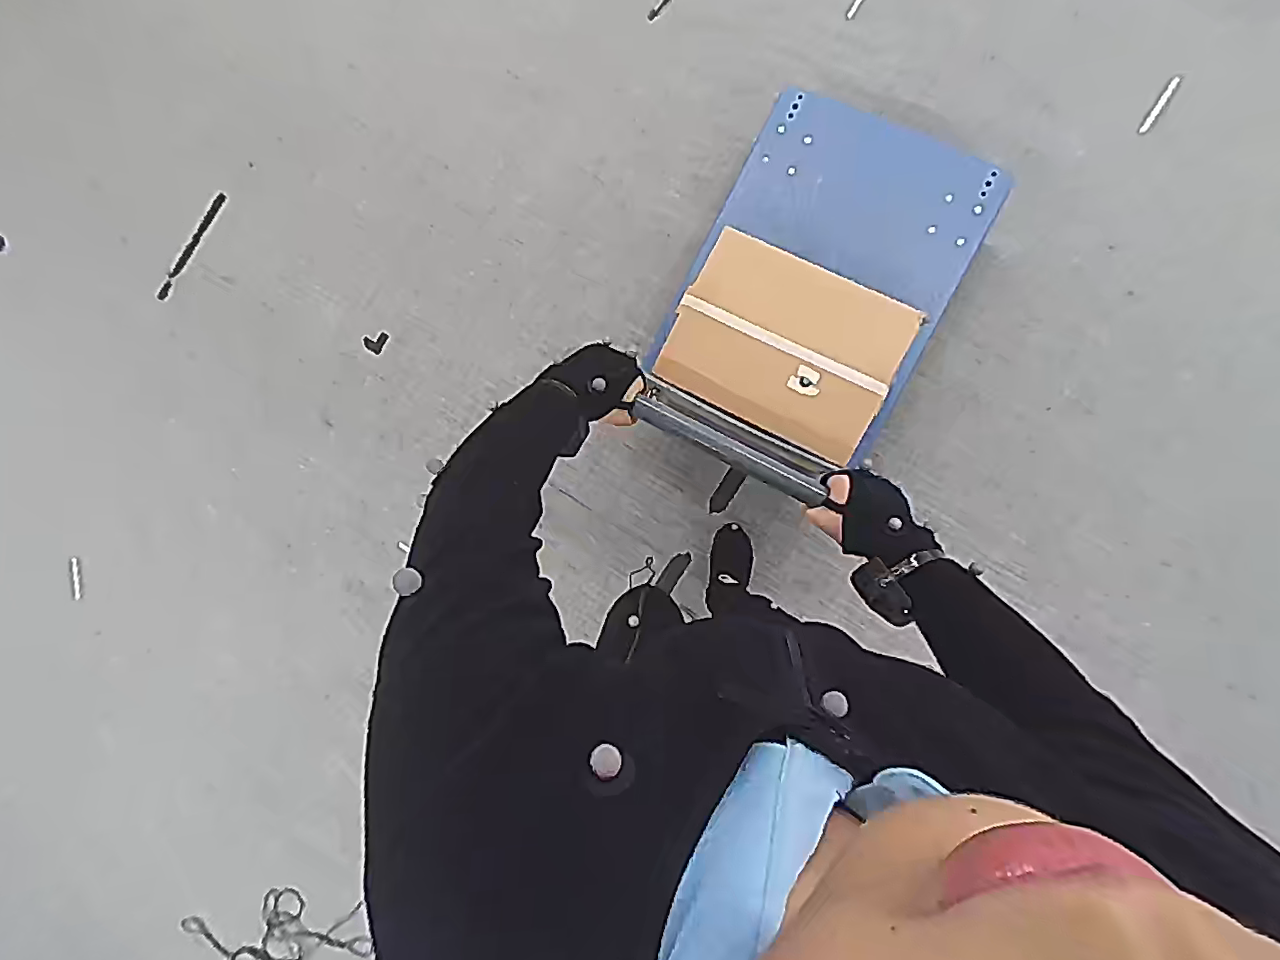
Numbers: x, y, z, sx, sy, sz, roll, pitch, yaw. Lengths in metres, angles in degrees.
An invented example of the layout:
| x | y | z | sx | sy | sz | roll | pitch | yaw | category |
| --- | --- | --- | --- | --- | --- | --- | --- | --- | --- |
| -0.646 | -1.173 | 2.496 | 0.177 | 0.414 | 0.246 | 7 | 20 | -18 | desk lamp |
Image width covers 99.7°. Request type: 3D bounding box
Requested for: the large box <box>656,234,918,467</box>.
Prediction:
| x | y | z | sx | sy | sz | roll | pitch | yaw | category |
| --- | --- | --- | --- | --- | --- | --- | --- | --- | --- |
| 0.286 | -0.252 | 1.164 | 0.408 | 0.320 | 0.320 | 27 | 93 | 7 | large box |
